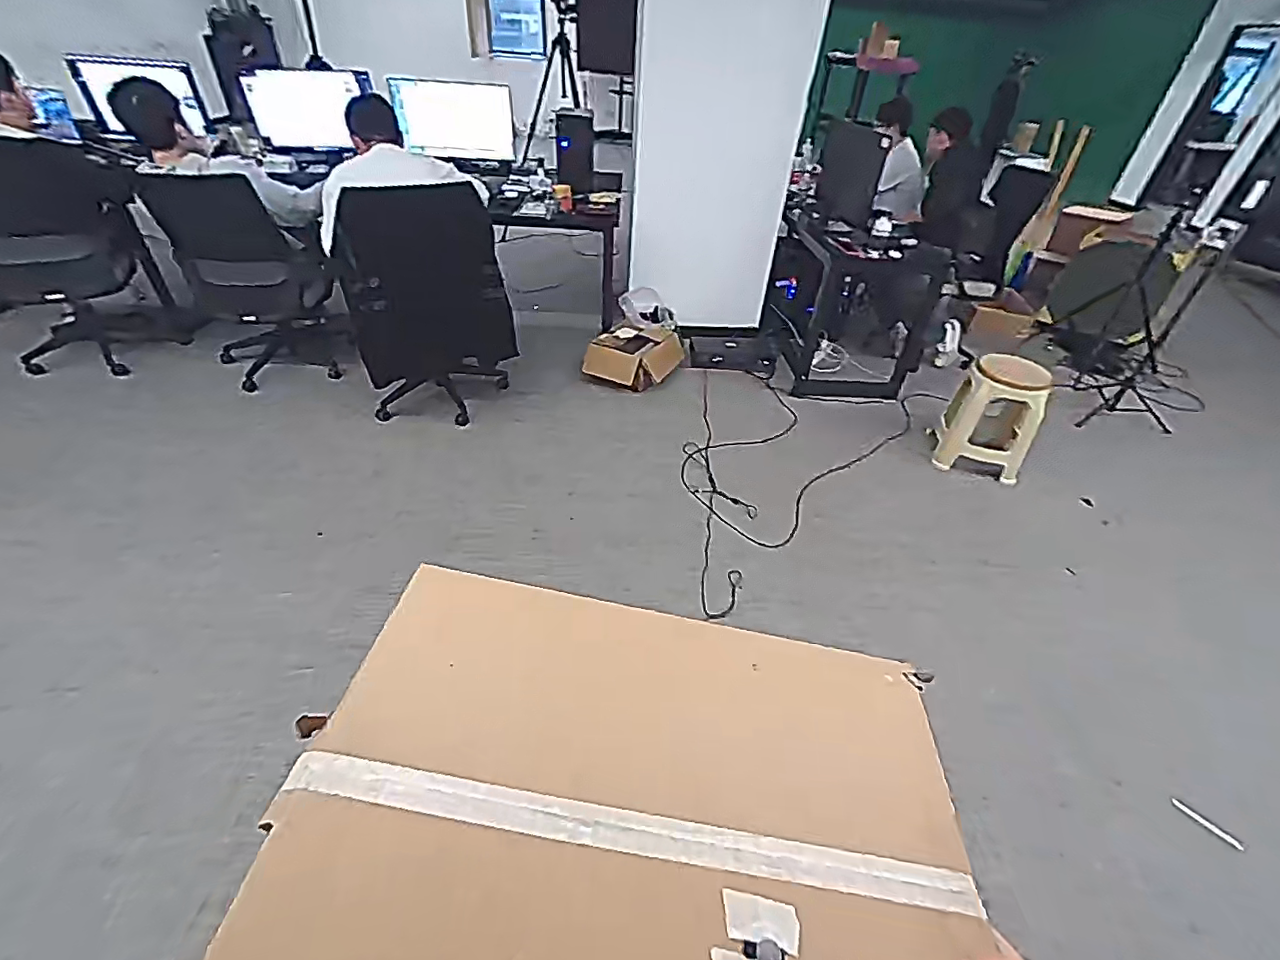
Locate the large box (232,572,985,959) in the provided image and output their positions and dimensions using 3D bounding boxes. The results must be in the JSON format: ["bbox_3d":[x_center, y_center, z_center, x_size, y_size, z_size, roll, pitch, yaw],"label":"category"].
[{"bbox_3d":[-0.021,0.321,0.427,0.408,0.320,0.320,13,42,-2],"label":"large box"}]
